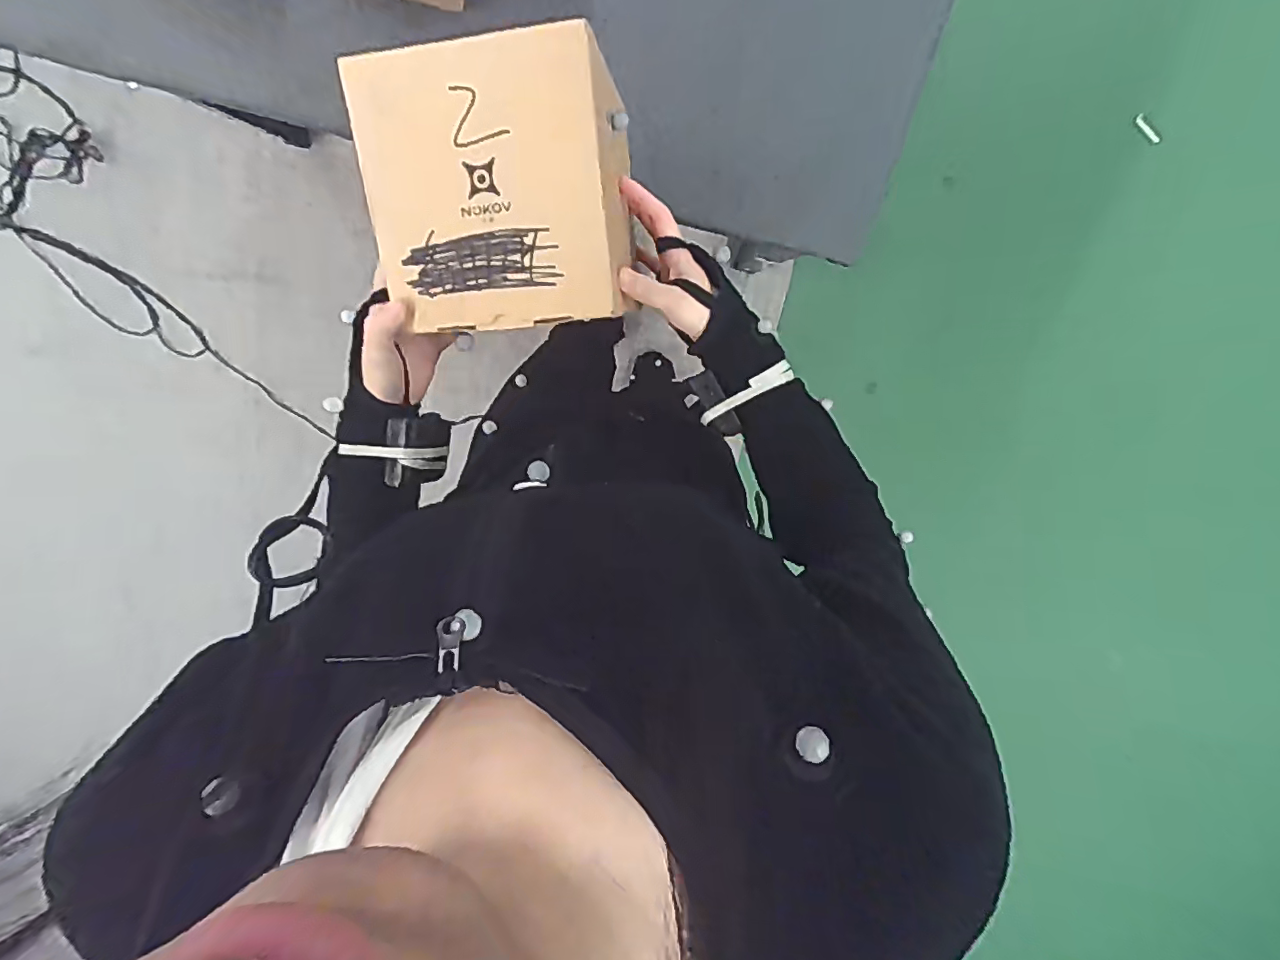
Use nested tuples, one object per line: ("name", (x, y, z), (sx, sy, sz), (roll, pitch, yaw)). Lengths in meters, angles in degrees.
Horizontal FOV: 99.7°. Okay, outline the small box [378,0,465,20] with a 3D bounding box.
("small box", (-0.257, -0.586, 0.498), (0.168, 0.176, 0.179), (14, 106, -2))
